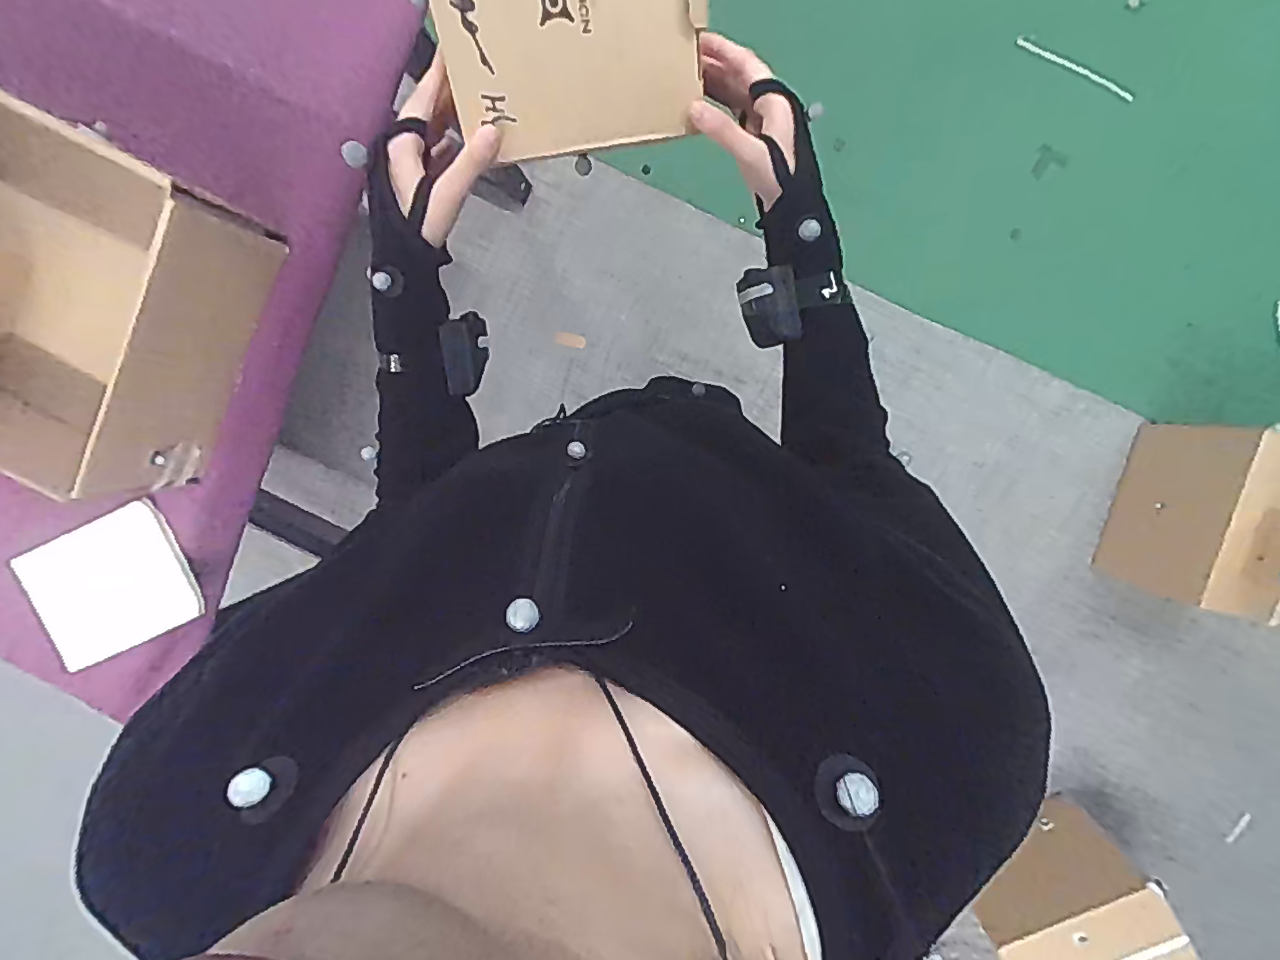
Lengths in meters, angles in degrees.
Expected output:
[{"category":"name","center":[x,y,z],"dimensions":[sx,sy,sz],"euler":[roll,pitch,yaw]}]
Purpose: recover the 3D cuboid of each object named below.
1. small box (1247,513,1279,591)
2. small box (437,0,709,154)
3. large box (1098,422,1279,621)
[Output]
[{"category":"small box","center":[1.355,0.160,1.037],"dimensions":[0.179,0.176,0.168],"euler":[12,99,2]},{"category":"small box","center":[-0.055,-0.353,0.412],"dimensions":[0.179,0.176,0.168],"euler":[-10,121,-5]},{"category":"large box","center":[1.393,0.089,1.273],"dimensions":[0.320,0.320,0.408],"euler":[11,97,1]}]
